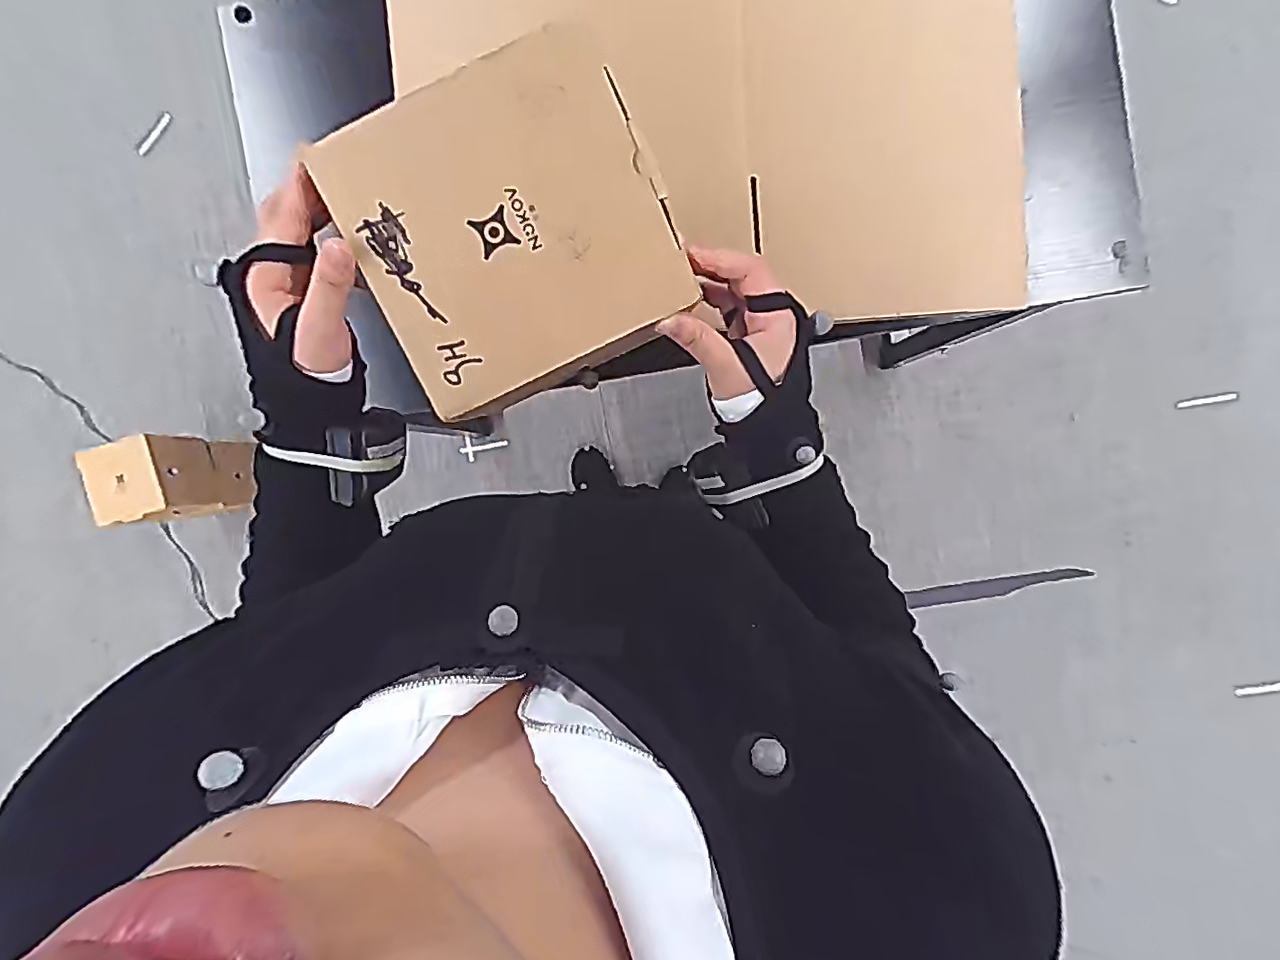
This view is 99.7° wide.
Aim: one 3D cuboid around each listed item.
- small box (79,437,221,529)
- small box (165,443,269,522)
[{"bbox_3d":[-1.147,0.004,1.282,0.168,0.176,0.179,-16,91,1],"label":"small box"},{"bbox_3d":[-1.141,0.005,1.445,0.168,0.176,0.179,-14,92,2],"label":"small box"}]
